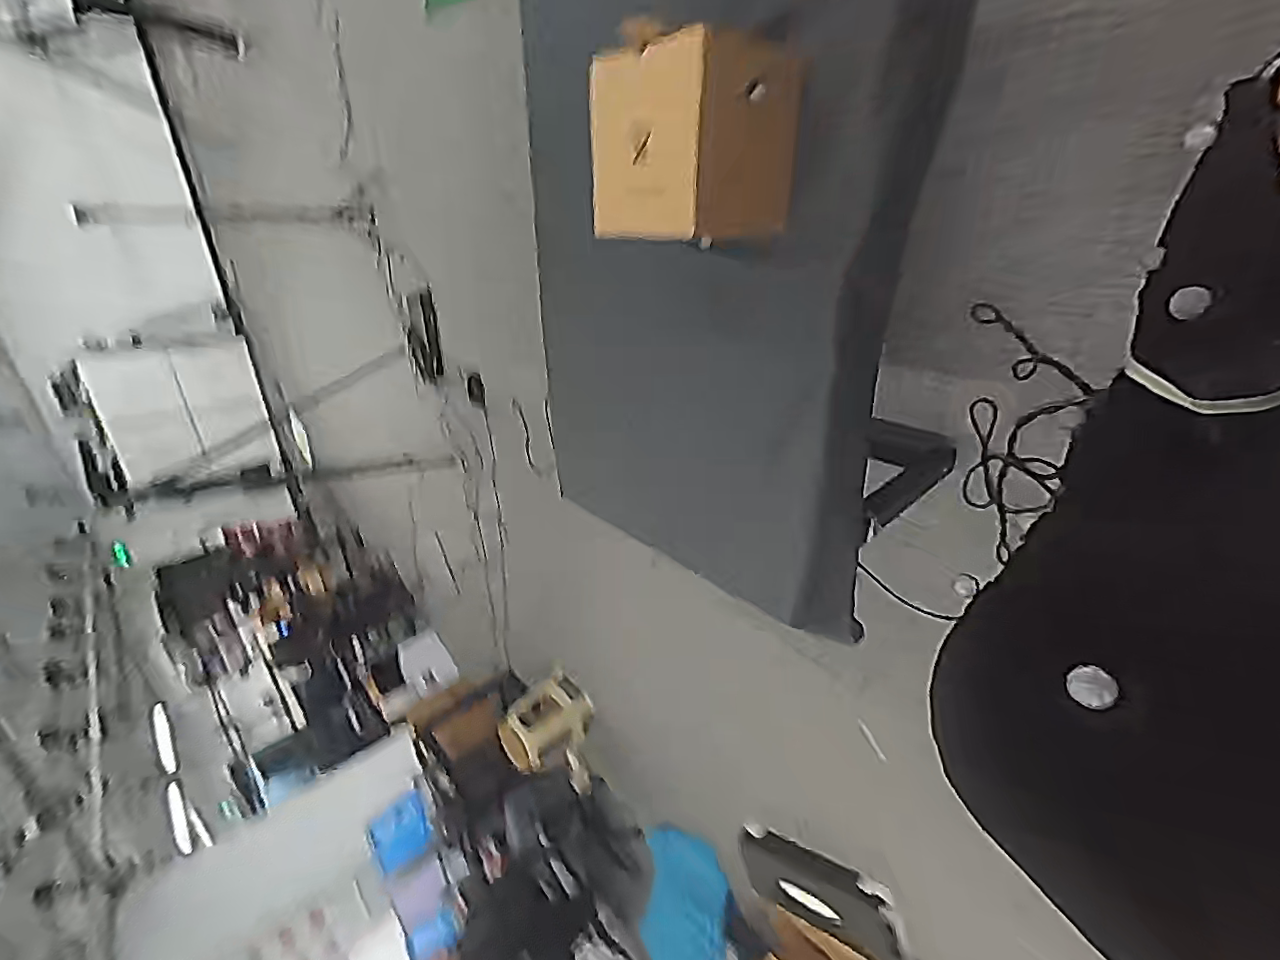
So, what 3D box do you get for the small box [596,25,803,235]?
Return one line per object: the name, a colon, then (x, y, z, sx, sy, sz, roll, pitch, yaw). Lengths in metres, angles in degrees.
small box: (0.068, -0.383, 0.625, 0.168, 0.176, 0.179, 25, 127, 43)
